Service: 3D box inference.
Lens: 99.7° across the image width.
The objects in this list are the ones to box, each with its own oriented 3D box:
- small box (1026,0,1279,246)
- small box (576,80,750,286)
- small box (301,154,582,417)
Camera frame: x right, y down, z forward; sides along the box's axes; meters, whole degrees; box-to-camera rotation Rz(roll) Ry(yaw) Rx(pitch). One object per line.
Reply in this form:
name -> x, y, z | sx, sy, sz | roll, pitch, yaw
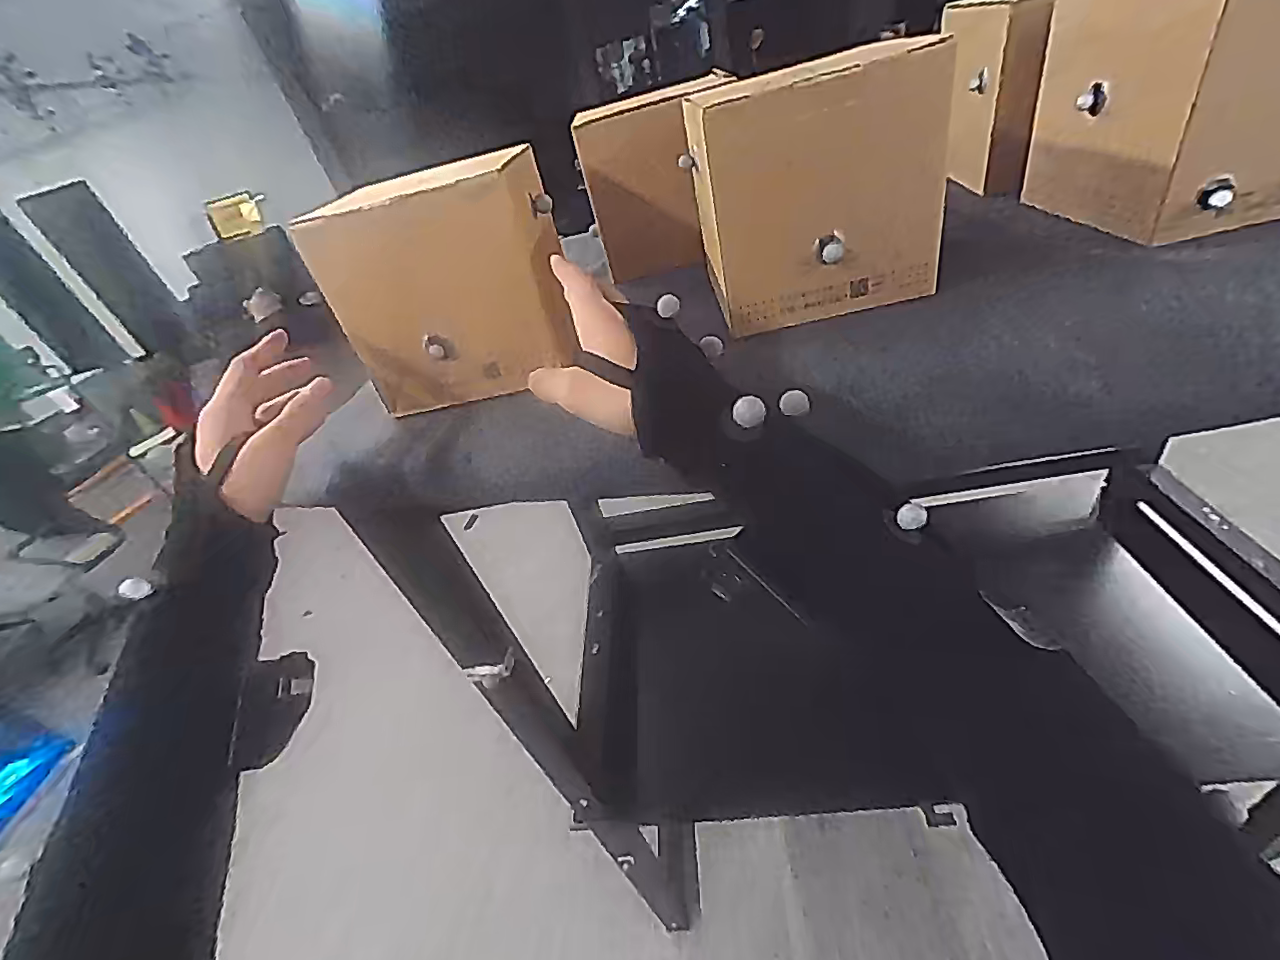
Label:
small box -> 0.451, -0.302, 0.429 | 0.168, 0.176, 0.179 | -11, 37, 7
small box -> 0.032, -0.357, 0.654 | 0.179, 0.176, 0.168 | -12, 38, 6
small box -> -0.156, -0.180, 0.500 | 0.168, 0.176, 0.179 | -11, 37, 6
